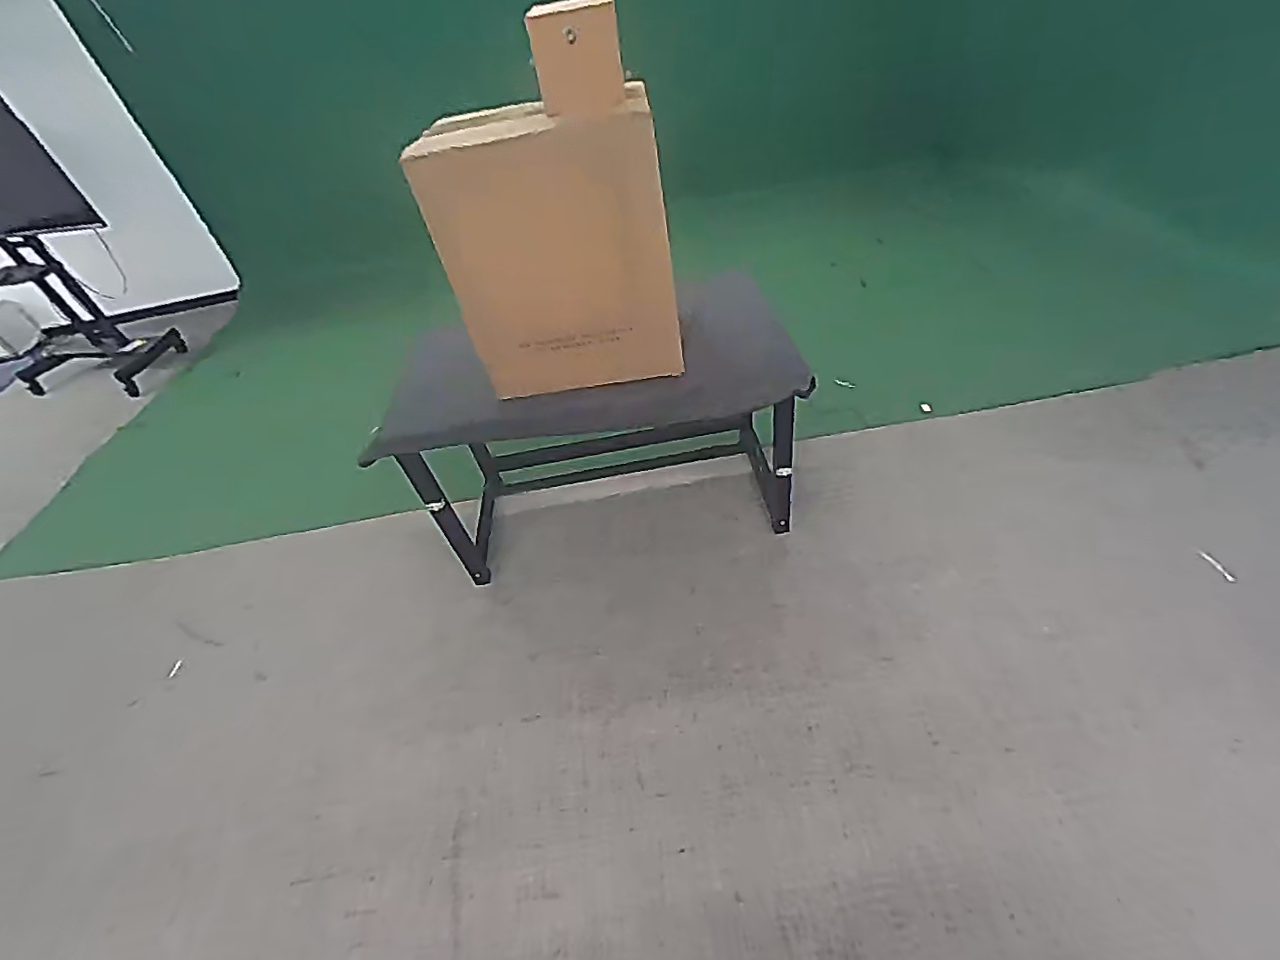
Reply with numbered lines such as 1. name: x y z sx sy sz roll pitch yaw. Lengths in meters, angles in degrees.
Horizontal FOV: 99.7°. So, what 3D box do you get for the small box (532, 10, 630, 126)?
1. small box: -0.121 -0.885 1.166 0.179 0.176 0.168 -6 46 3
